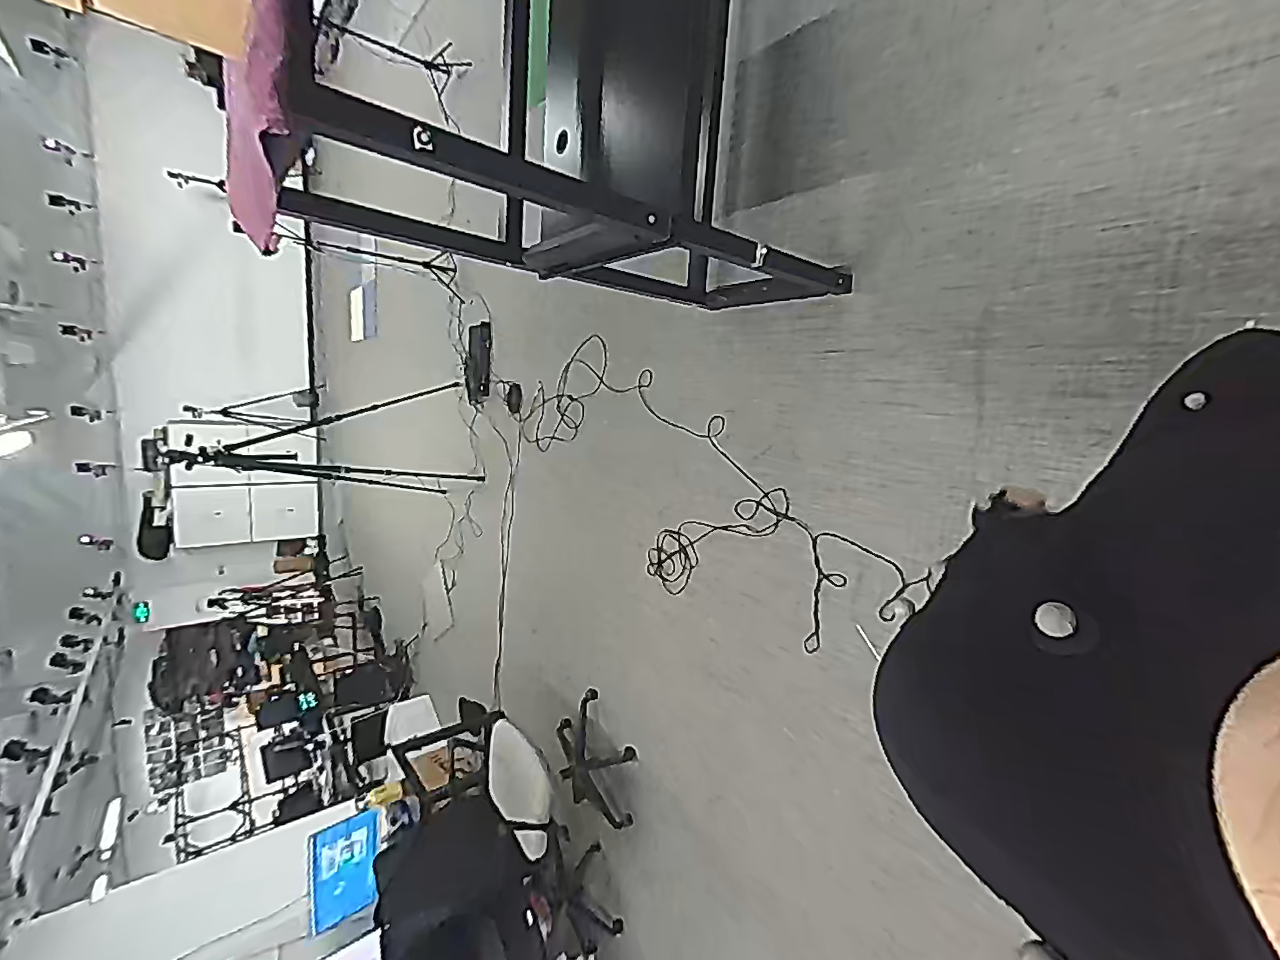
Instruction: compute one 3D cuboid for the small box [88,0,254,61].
[{"bbox_3d":[-0.596,-0.687,0.684,0.179,0.176,0.168,10,100,50],"label":"small box"}]
